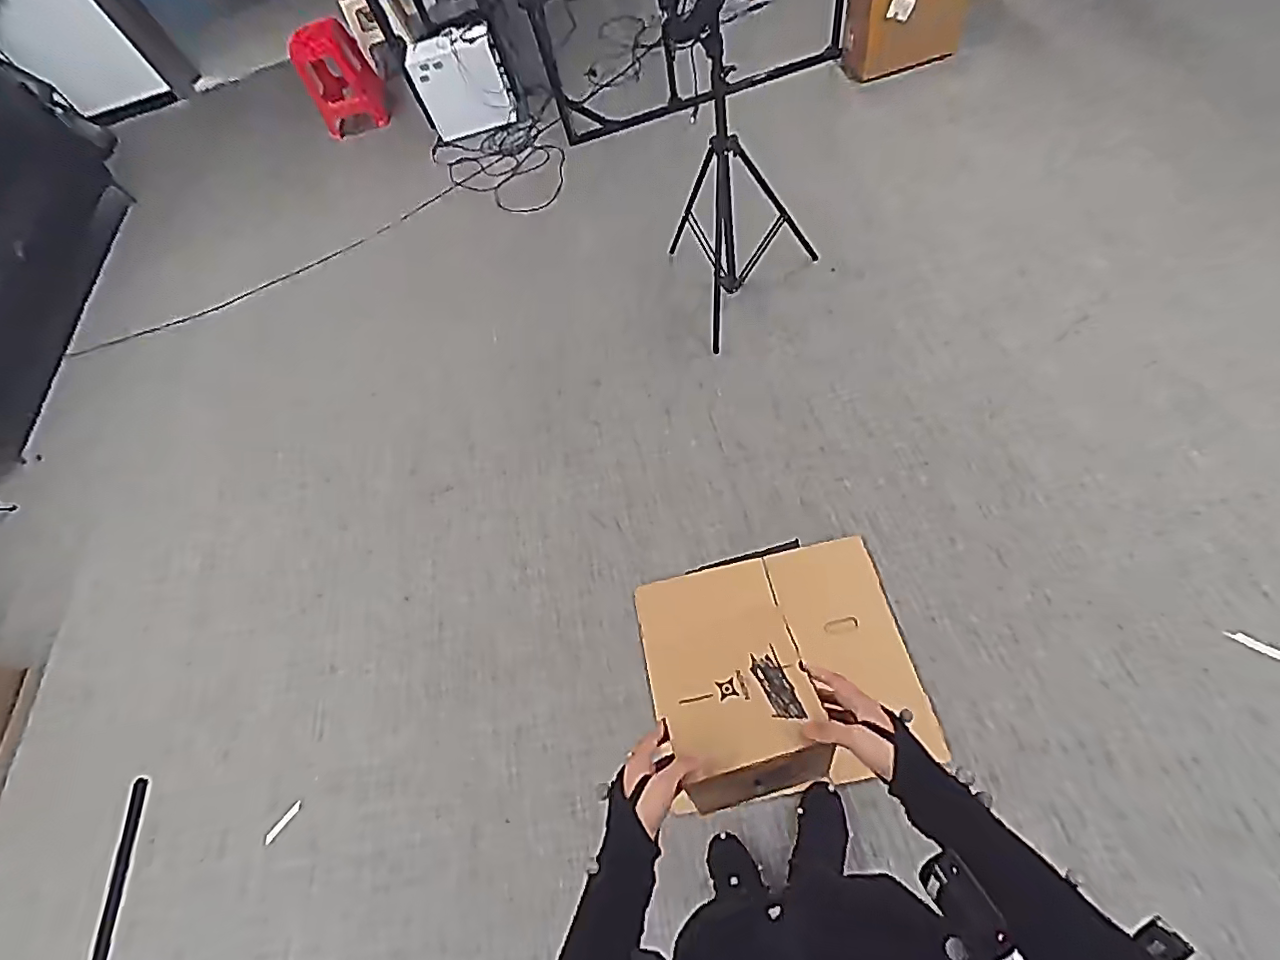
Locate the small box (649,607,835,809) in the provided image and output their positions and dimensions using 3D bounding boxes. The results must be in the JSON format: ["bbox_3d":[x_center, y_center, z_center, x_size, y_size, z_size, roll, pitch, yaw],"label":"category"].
[{"bbox_3d":[0.123,0.292,0.686,0.179,0.176,0.168,-17,47,0],"label":"small box"}]
